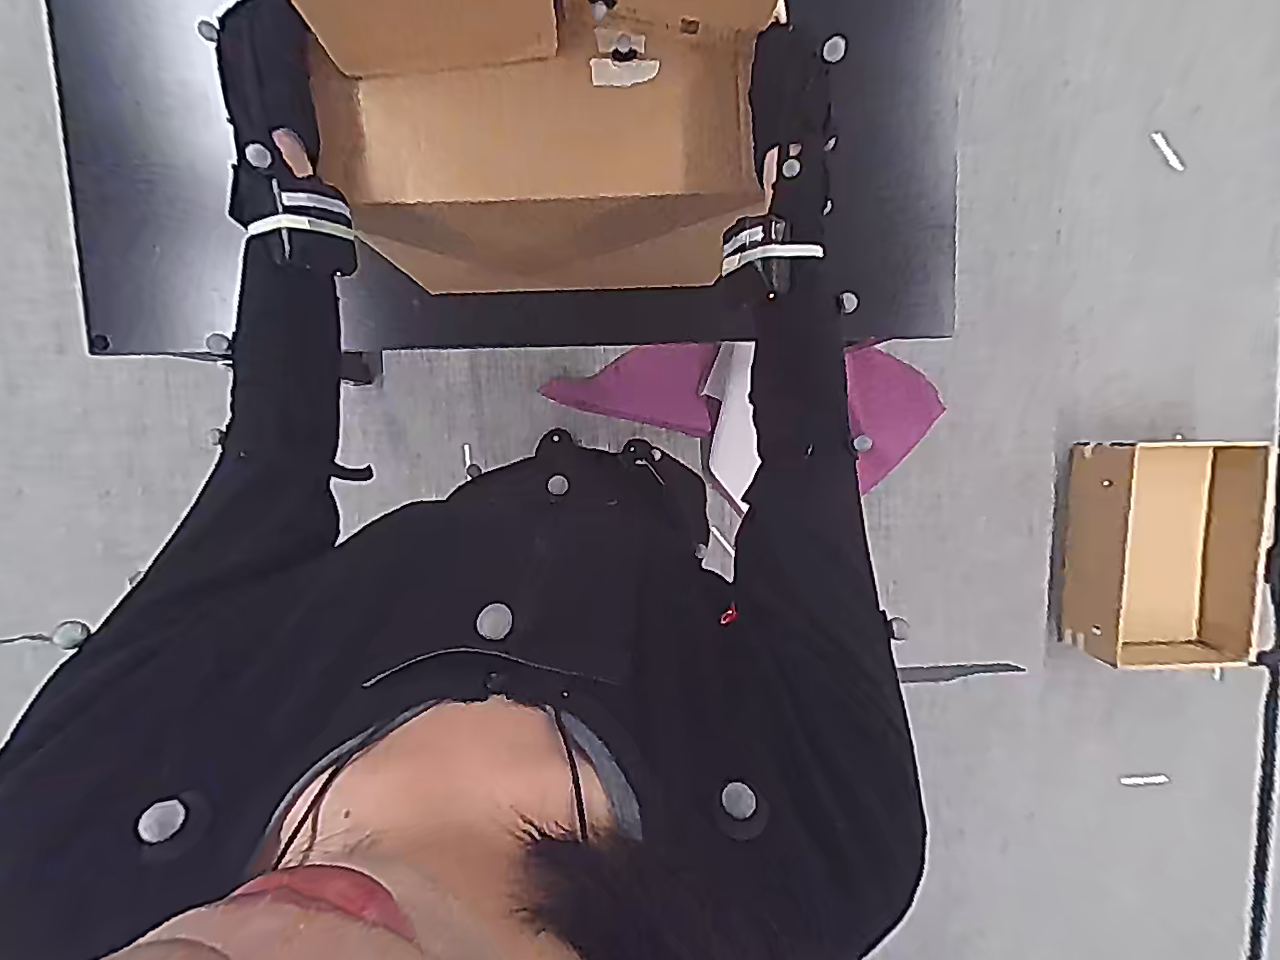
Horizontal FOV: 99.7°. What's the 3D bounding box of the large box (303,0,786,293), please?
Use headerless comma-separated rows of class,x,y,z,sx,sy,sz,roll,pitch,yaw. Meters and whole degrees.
large box,-0.091,-0.412,0.600,0.408,0.320,0.320,-4,96,-4

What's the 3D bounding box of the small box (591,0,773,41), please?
small box,0.036,-0.449,0.361,0.168,0.176,0.179,8,93,-4
